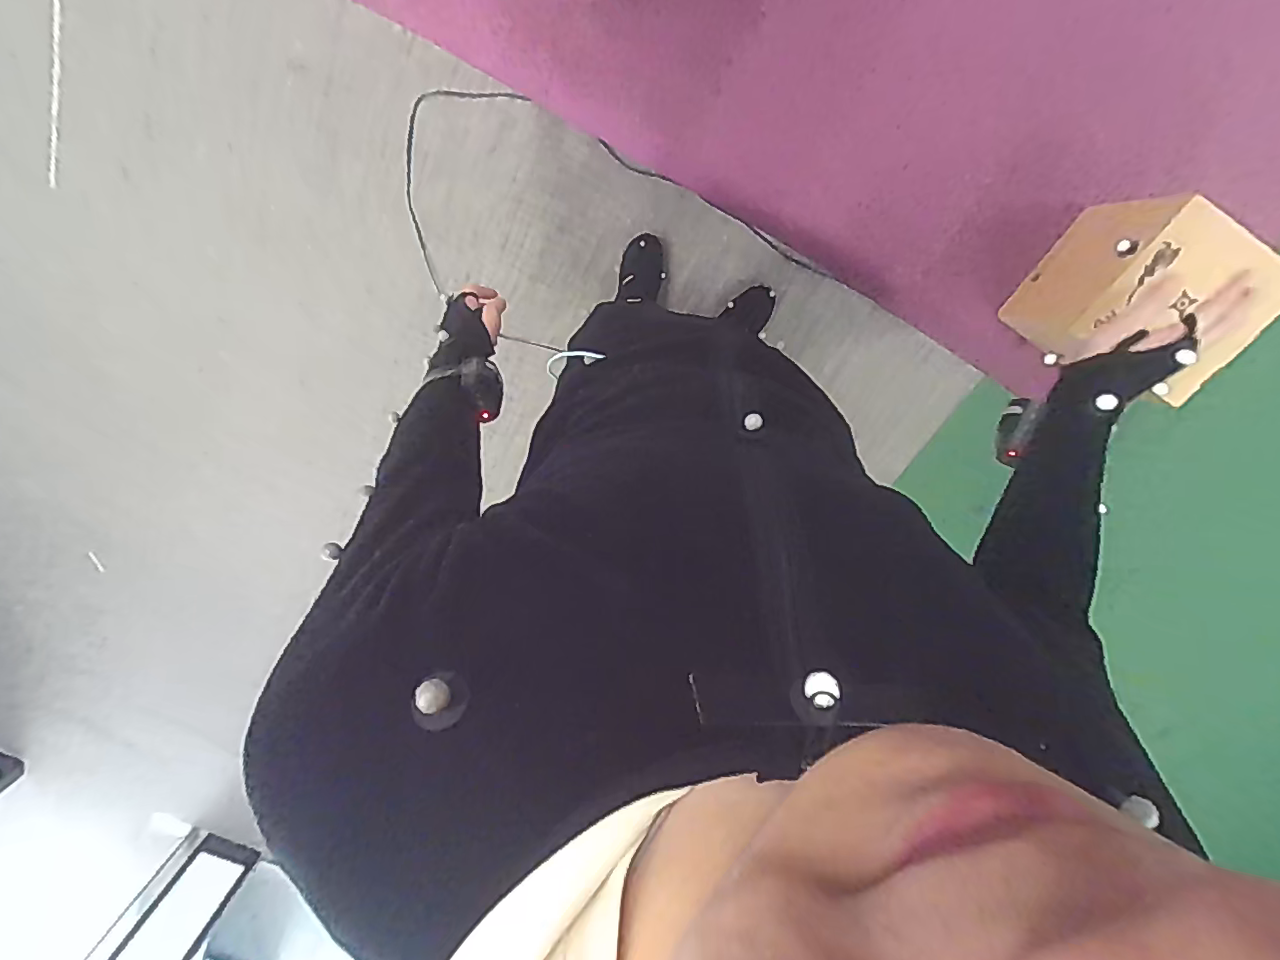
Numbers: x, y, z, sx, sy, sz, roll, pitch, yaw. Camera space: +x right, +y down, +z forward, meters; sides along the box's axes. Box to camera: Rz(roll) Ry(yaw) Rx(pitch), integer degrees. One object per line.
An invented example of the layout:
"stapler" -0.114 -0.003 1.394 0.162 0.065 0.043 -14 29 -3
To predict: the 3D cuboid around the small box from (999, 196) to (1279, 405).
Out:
"small box" 0.610 -0.225 0.676 0.179 0.176 0.168 31 112 -9
